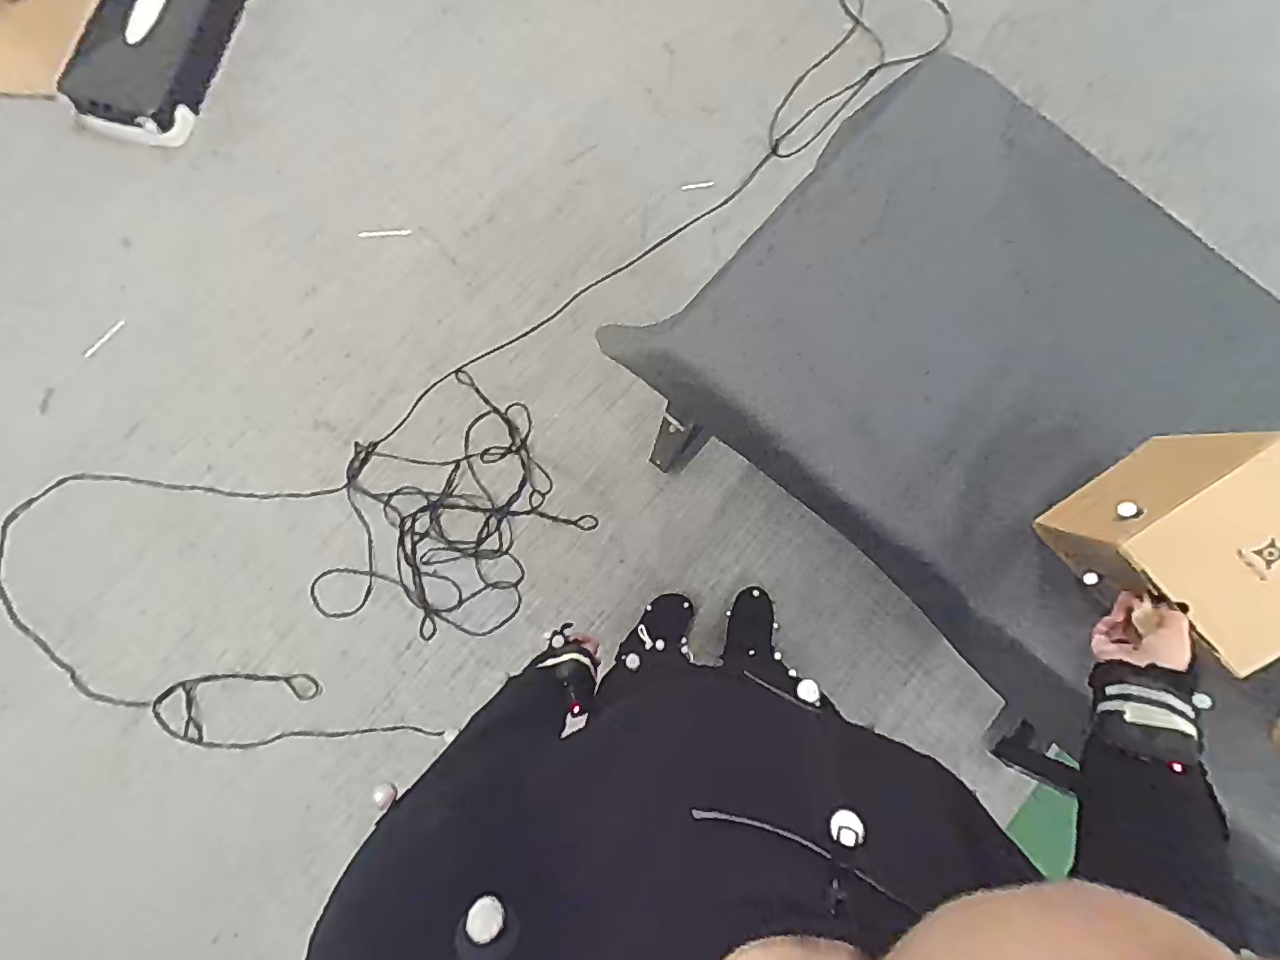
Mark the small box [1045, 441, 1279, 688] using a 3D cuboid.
[{"bbox_3d":[0.588,0.070,0.564,0.179,0.176,0.168,-42,85,11],"label":"small box"}]
